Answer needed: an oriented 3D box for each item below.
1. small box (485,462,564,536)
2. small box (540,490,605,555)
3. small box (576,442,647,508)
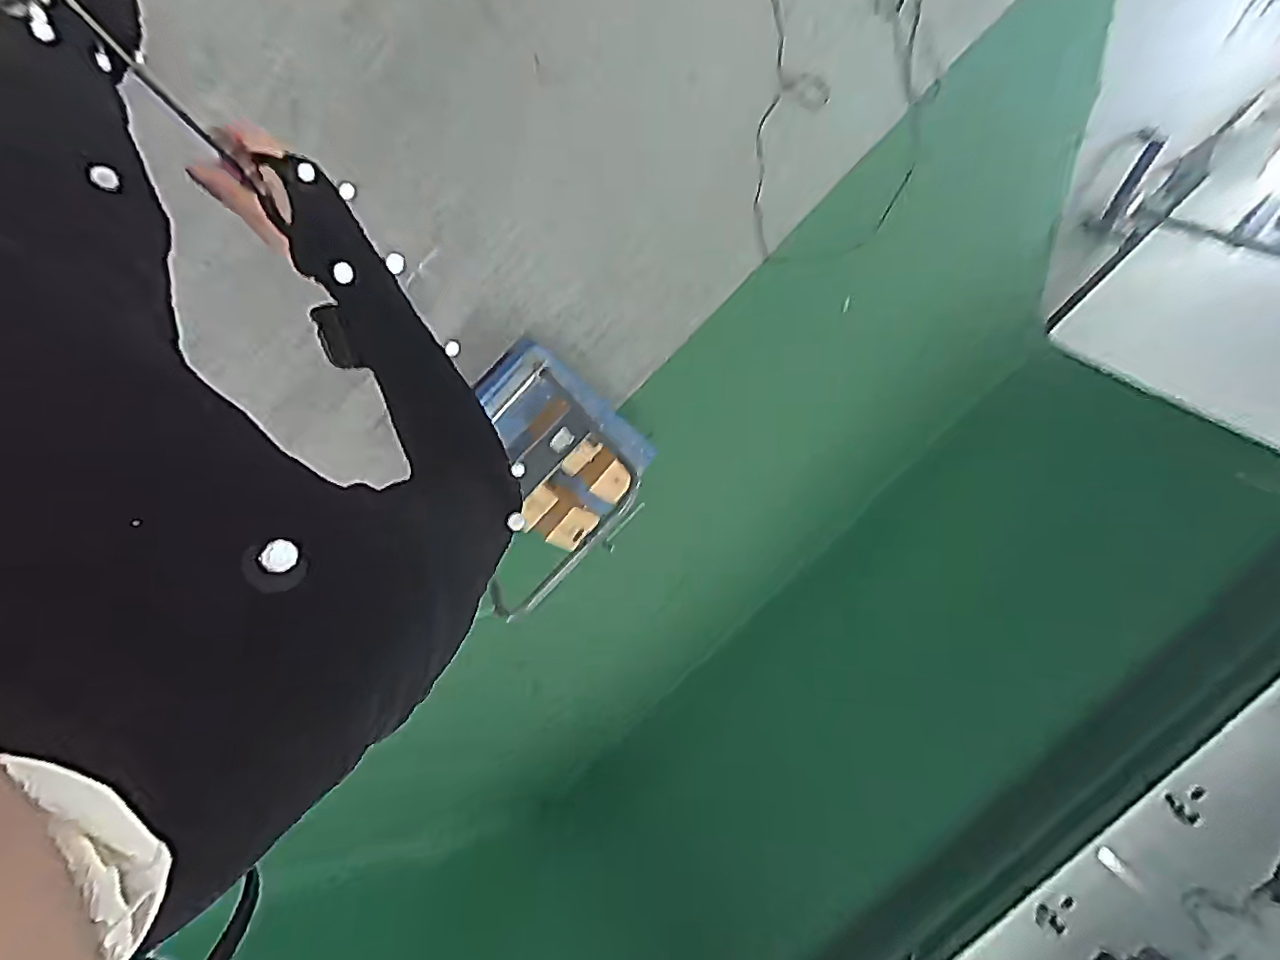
[{"bbox_3d":[-0.406,0.064,1.890,0.168,0.176,0.179,-45,143,4],"label":"small box"},{"bbox_3d":[-0.277,0.164,2.106,0.168,0.176,0.179,-49,142,7],"label":"small box"},{"bbox_3d":[-0.113,-0.024,2.072,0.168,0.176,0.179,-48,143,8],"label":"small box"}]
